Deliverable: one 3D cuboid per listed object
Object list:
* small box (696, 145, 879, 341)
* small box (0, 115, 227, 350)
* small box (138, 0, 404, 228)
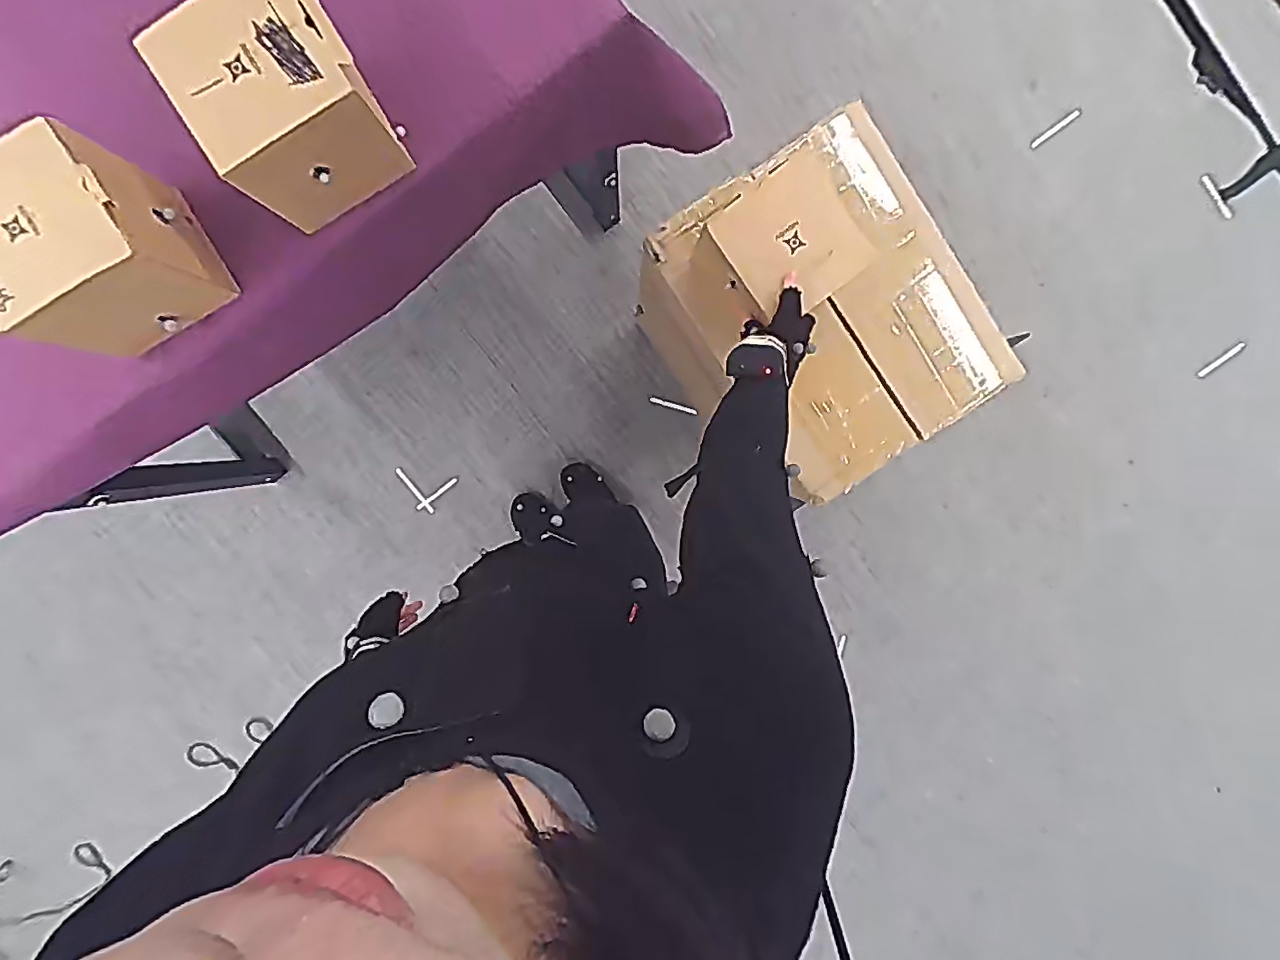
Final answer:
[{"bbox_3d":[0.197,-0.323,0.781,0.168,0.176,0.179,-37,96,5],"label":"small box"},{"bbox_3d":[-0.656,-0.280,0.655,0.179,0.176,0.168,-30,94,0],"label":"small box"},{"bbox_3d":[-0.415,-0.445,0.650,0.179,0.176,0.168,-31,93,1],"label":"small box"}]
